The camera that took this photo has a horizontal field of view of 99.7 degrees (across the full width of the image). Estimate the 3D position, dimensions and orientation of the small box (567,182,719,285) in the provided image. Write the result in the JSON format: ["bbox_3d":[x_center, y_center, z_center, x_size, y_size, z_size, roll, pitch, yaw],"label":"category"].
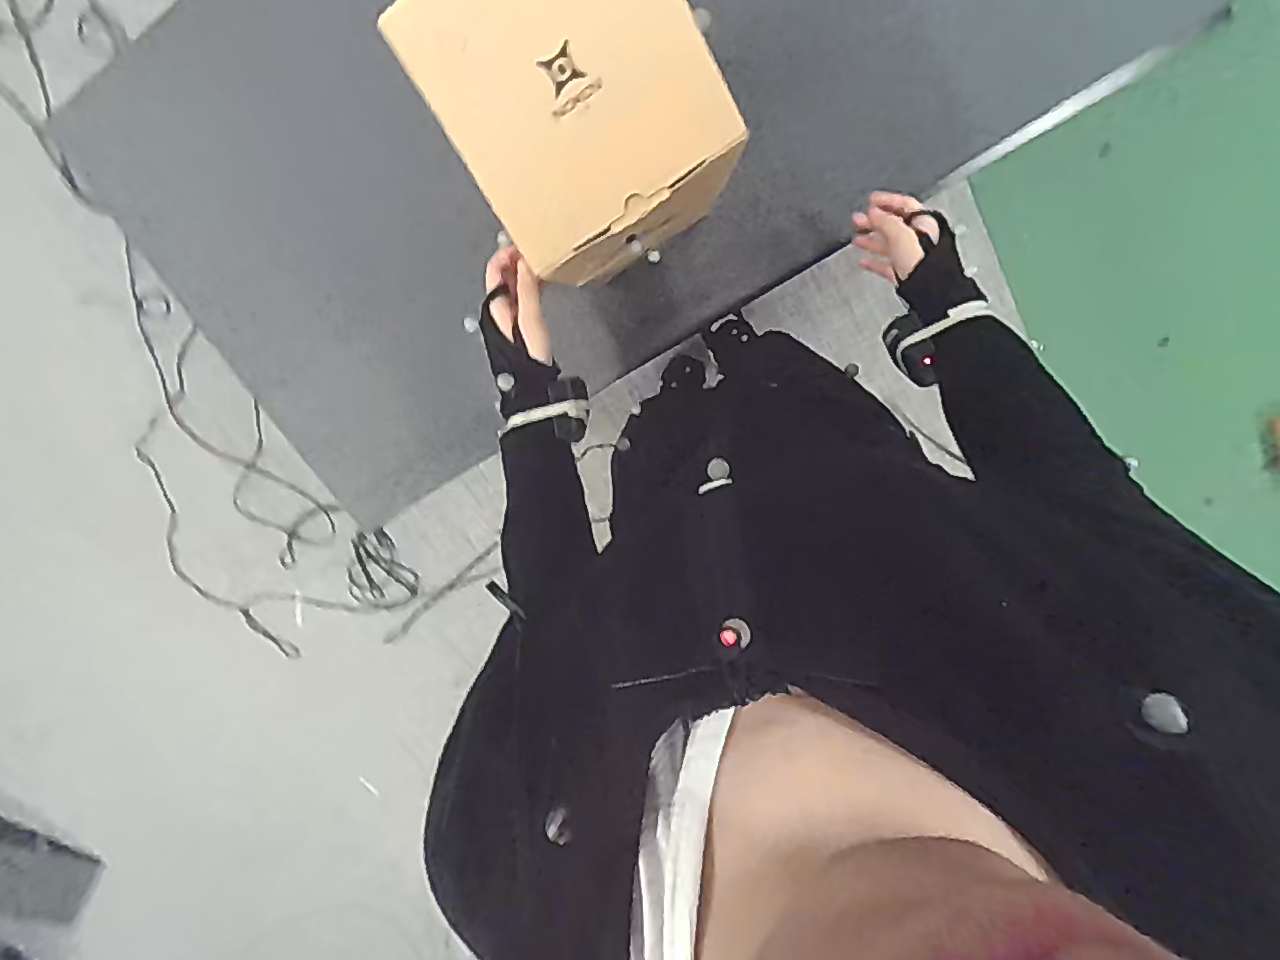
[{"bbox_3d":[-0.037,-0.322,0.562,0.168,0.176,0.179,-30,104,12],"label":"small box"}]

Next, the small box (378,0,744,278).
[{"bbox_3d":[-0.045,-0.273,0.408,0.168,0.176,0.179,-31,104,12],"label":"small box"}]
